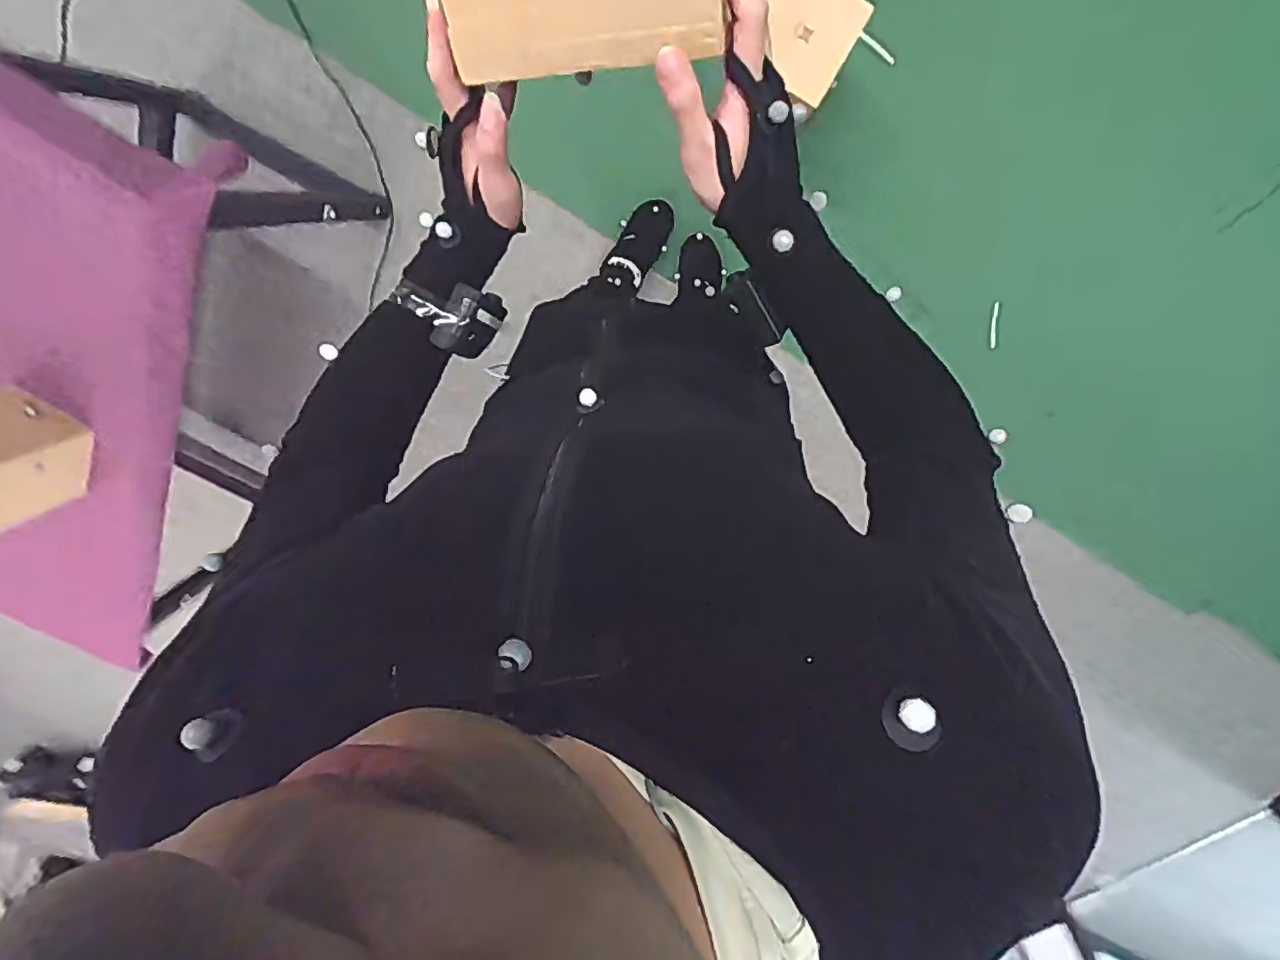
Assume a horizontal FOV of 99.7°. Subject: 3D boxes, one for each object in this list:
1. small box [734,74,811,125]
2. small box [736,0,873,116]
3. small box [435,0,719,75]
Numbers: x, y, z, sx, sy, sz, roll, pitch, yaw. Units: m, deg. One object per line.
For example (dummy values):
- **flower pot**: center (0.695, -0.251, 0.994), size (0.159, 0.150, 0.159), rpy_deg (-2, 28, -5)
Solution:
- **small box**: center (0.319, -0.893, 1.162), size (0.179, 0.176, 0.168), rpy_deg (27, 117, -6)
- **small box**: center (0.298, -0.819, 1.018), size (0.179, 0.176, 0.168), rpy_deg (29, 117, -6)
- **small box**: center (-0.037, -0.381, 0.345), size (0.179, 0.176, 0.168), rpy_deg (0, 137, 9)
